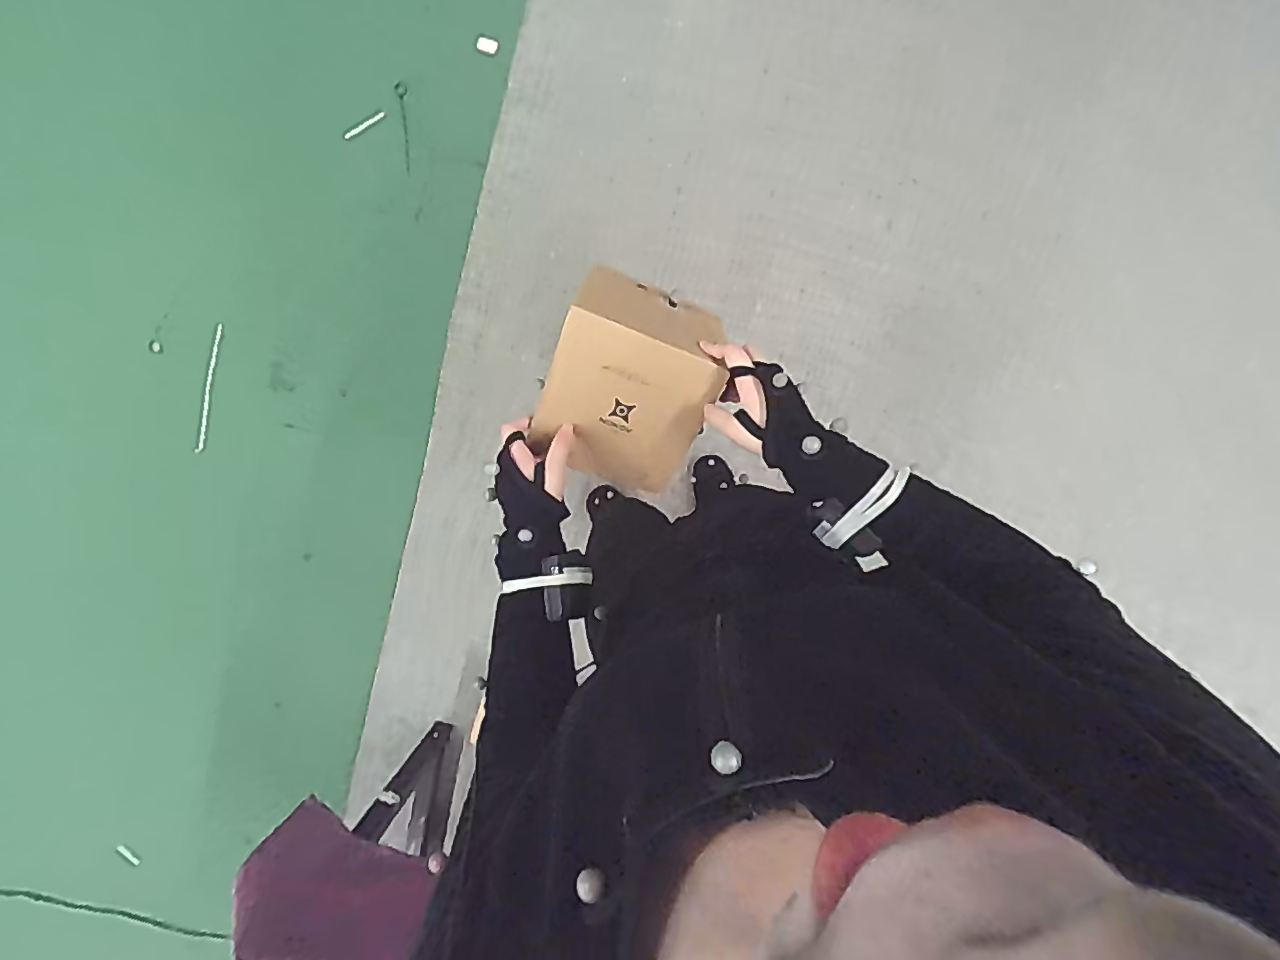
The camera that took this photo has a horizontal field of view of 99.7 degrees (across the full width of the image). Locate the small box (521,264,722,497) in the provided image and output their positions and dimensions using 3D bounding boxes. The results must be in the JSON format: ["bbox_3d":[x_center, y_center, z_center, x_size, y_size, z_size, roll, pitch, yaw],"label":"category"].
[{"bbox_3d":[-0.018,-0.118,0.625,0.168,0.176,0.179,21,124,-10],"label":"small box"}]
